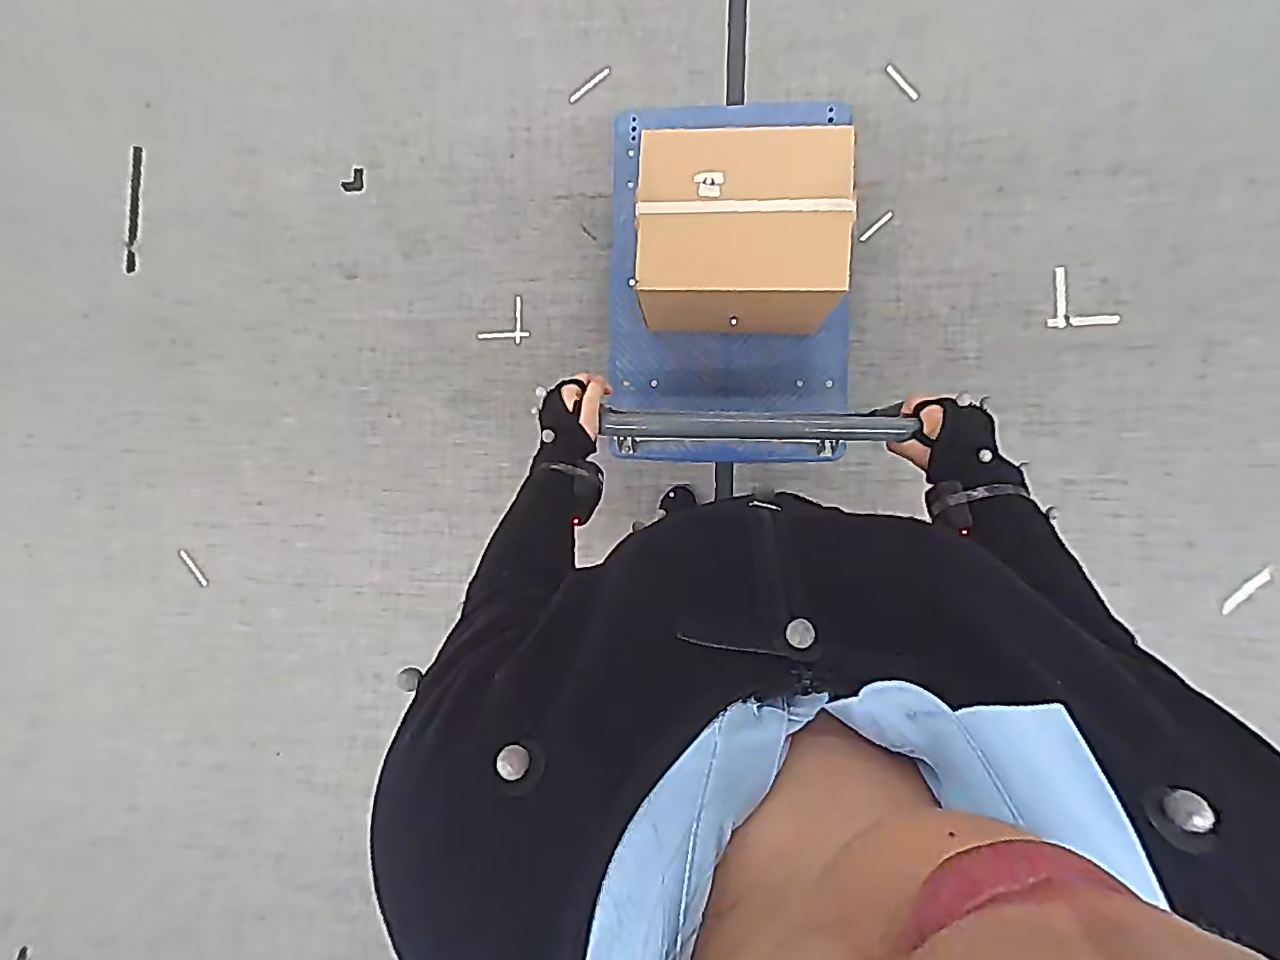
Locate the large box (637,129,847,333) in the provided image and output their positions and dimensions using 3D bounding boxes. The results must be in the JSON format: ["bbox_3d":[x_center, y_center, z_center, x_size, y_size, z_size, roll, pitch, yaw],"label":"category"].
[{"bbox_3d":[0.214,-0.519,1.199,0.408,0.320,0.320,2,89,7],"label":"large box"}]
